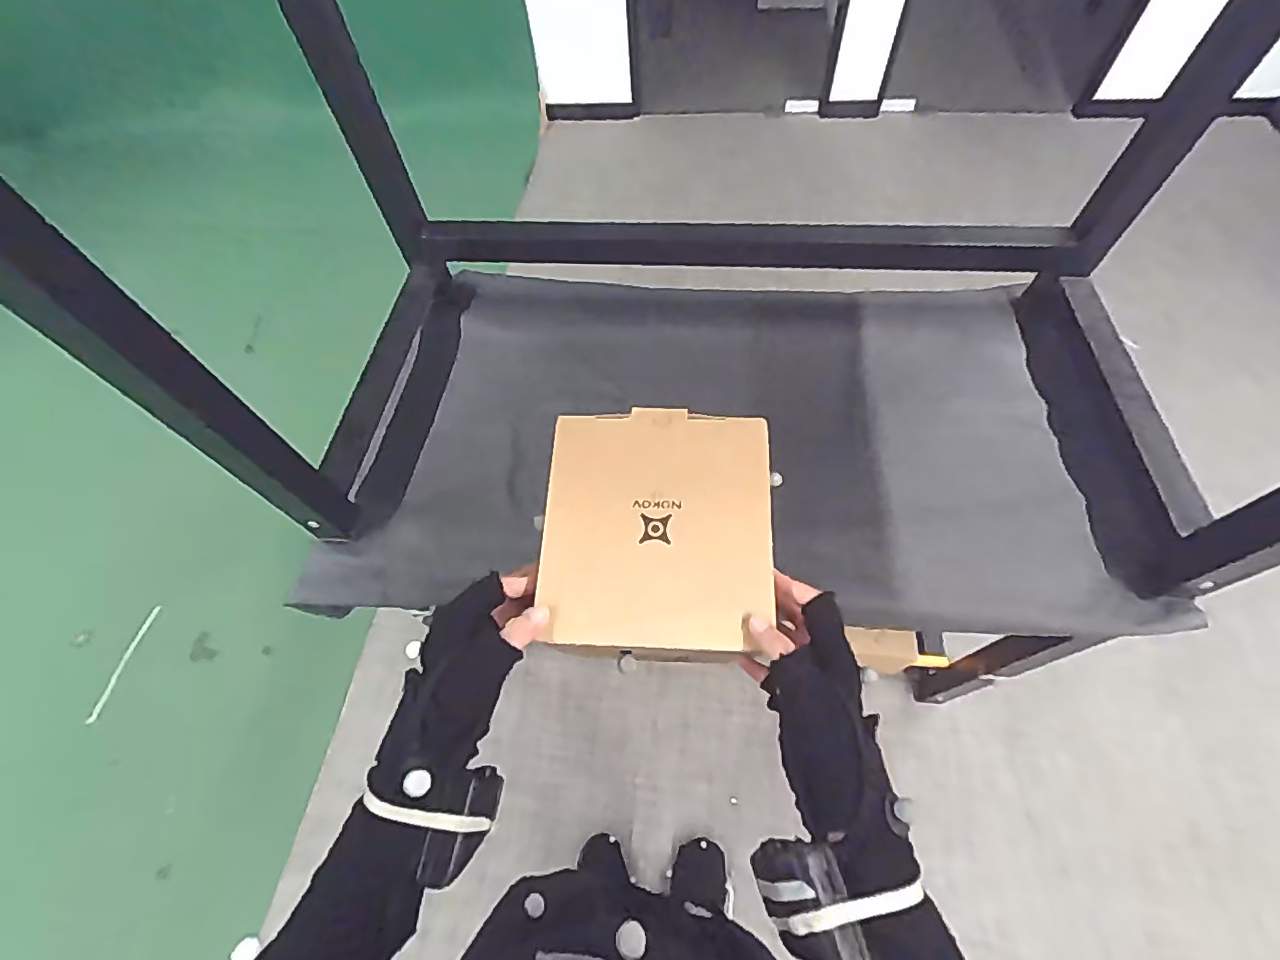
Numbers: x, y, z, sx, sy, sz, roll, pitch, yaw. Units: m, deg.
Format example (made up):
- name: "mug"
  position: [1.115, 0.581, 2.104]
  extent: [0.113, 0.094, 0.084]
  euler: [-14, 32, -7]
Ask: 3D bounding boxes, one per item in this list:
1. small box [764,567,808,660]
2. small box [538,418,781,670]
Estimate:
- name: "small box"
  position: [0.291, 0.312, 1.263]
  extent: [0.168, 0.176, 0.179]
  euler: [3, 60, 5]
- name: "small box"
  position: [0.022, 0.063, 0.461]
  extent: [0.168, 0.176, 0.179]
  euler: [1, 66, 4]
